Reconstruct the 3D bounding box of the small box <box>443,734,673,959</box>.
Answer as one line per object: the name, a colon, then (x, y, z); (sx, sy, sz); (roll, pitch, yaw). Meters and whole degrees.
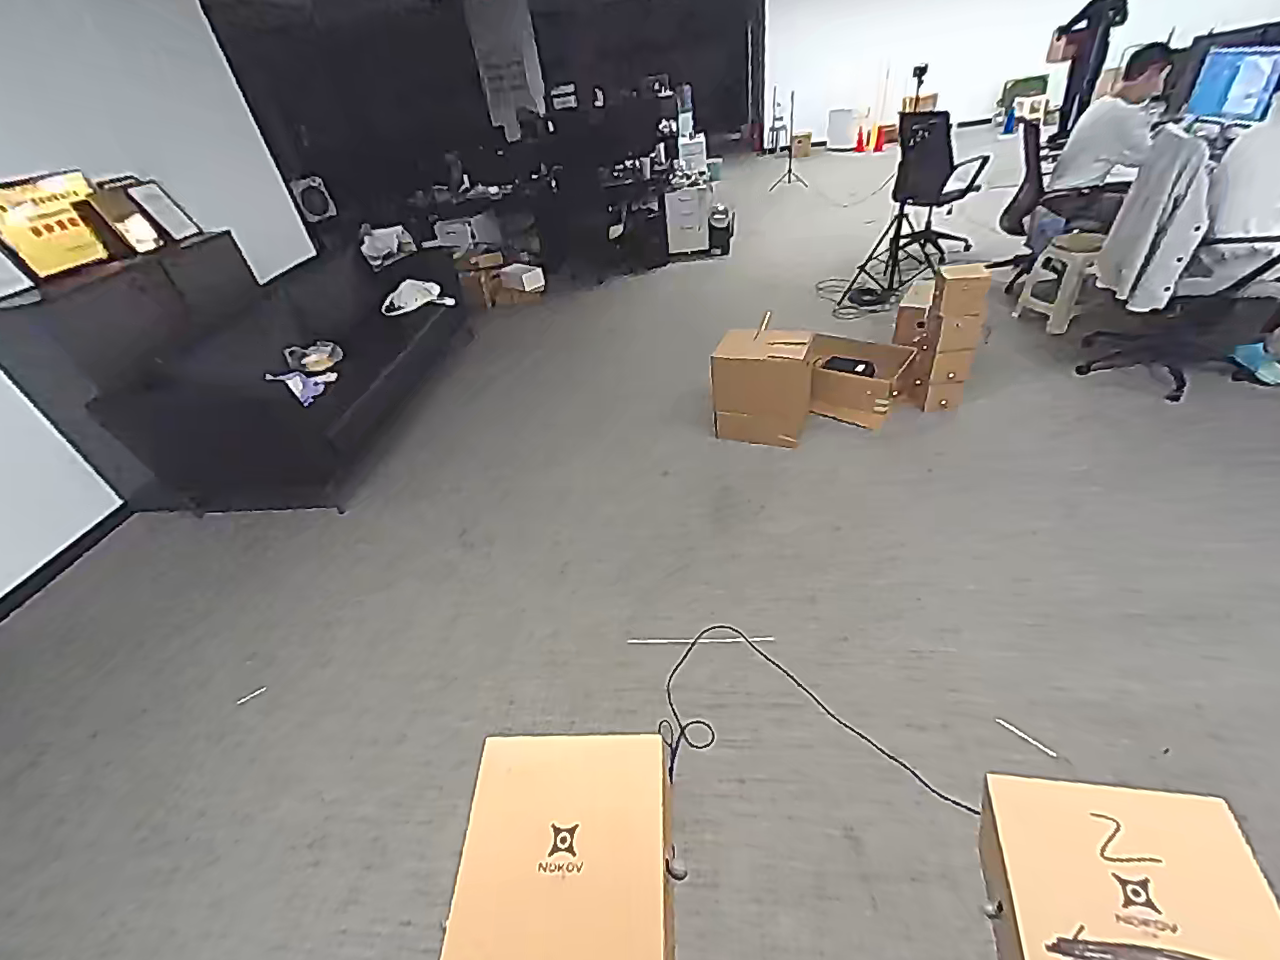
small box: (-0.057, 0.357, 0.502); (0.168, 0.176, 0.179); (-3, 46, 4)
